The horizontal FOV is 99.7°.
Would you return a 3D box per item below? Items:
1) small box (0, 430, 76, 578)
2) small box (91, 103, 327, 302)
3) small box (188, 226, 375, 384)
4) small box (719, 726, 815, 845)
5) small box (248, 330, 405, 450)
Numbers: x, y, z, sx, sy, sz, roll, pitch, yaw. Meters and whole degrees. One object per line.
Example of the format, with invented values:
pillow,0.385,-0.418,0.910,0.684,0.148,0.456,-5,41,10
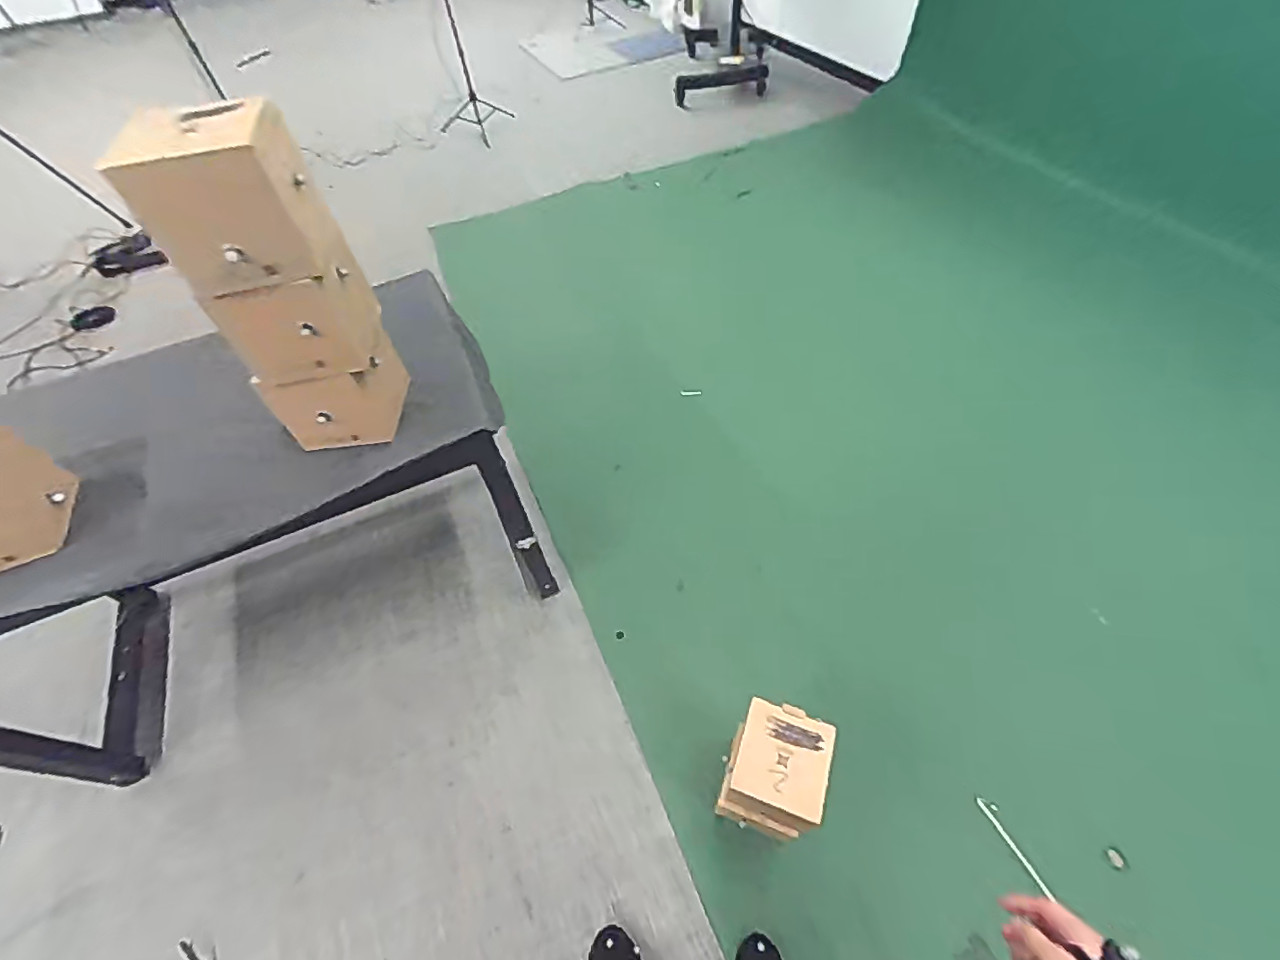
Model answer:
small box,-1.078,0.049,0.869,0.168,0.176,0.179,-23,53,-12
small box,-0.544,-0.365,0.717,0.168,0.176,0.179,-15,53,-6
small box,-0.541,-0.267,0.849,0.168,0.176,0.179,-10,51,-3
small box,0.276,0.678,1.193,0.168,0.176,0.179,15,55,16
small box,-0.549,-0.169,0.979,0.168,0.176,0.179,-6,51,0
